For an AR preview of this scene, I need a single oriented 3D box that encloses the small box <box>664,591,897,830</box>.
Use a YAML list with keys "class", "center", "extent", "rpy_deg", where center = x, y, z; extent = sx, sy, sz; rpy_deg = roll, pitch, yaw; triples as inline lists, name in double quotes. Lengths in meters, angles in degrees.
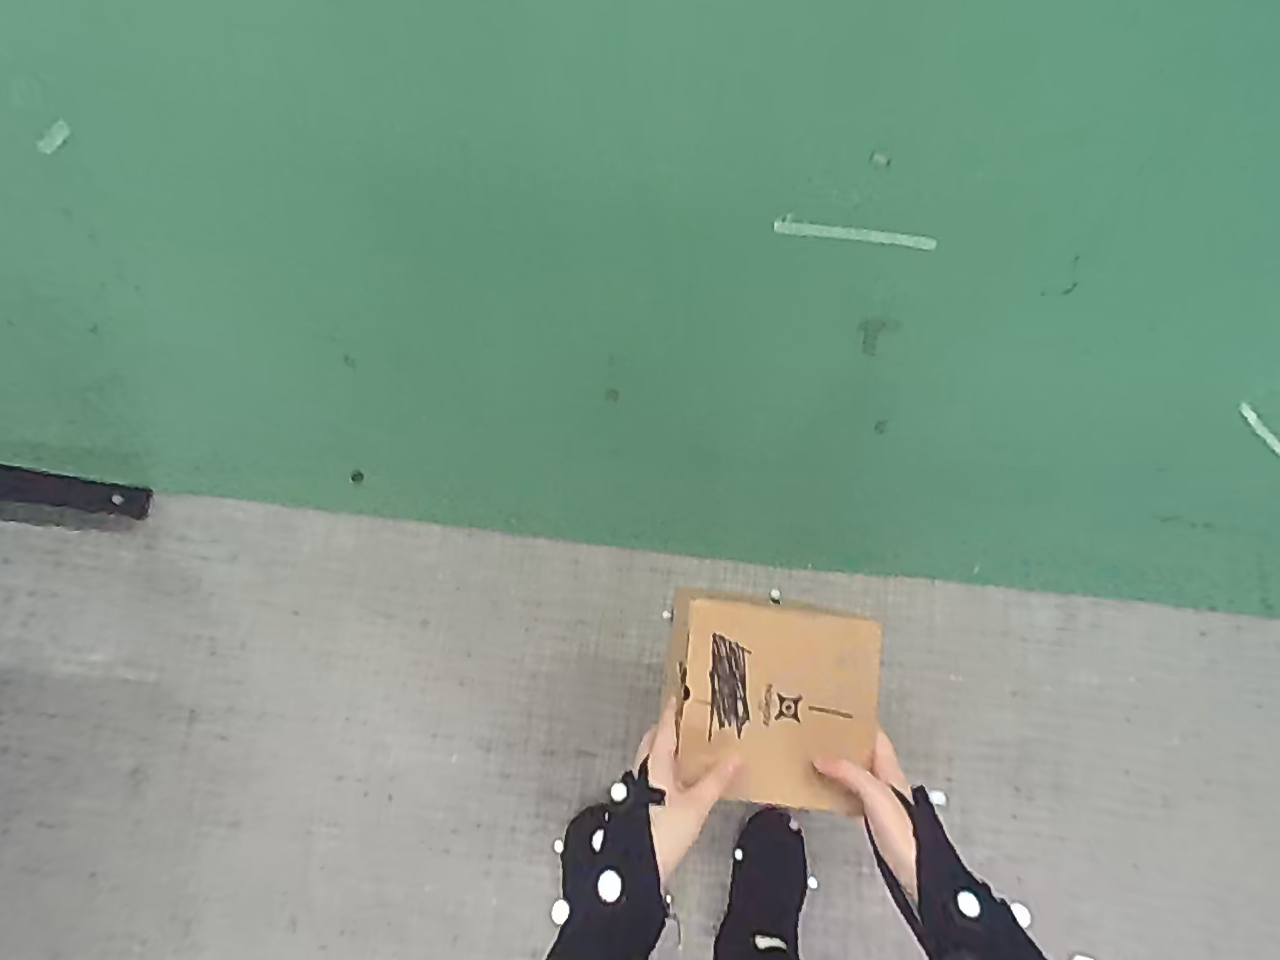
- class: "small box"
  center: [0.121, 0.204, 0.527]
  extent: [0.179, 0.176, 0.168]
  rpy_deg: [7, 83, -1]
